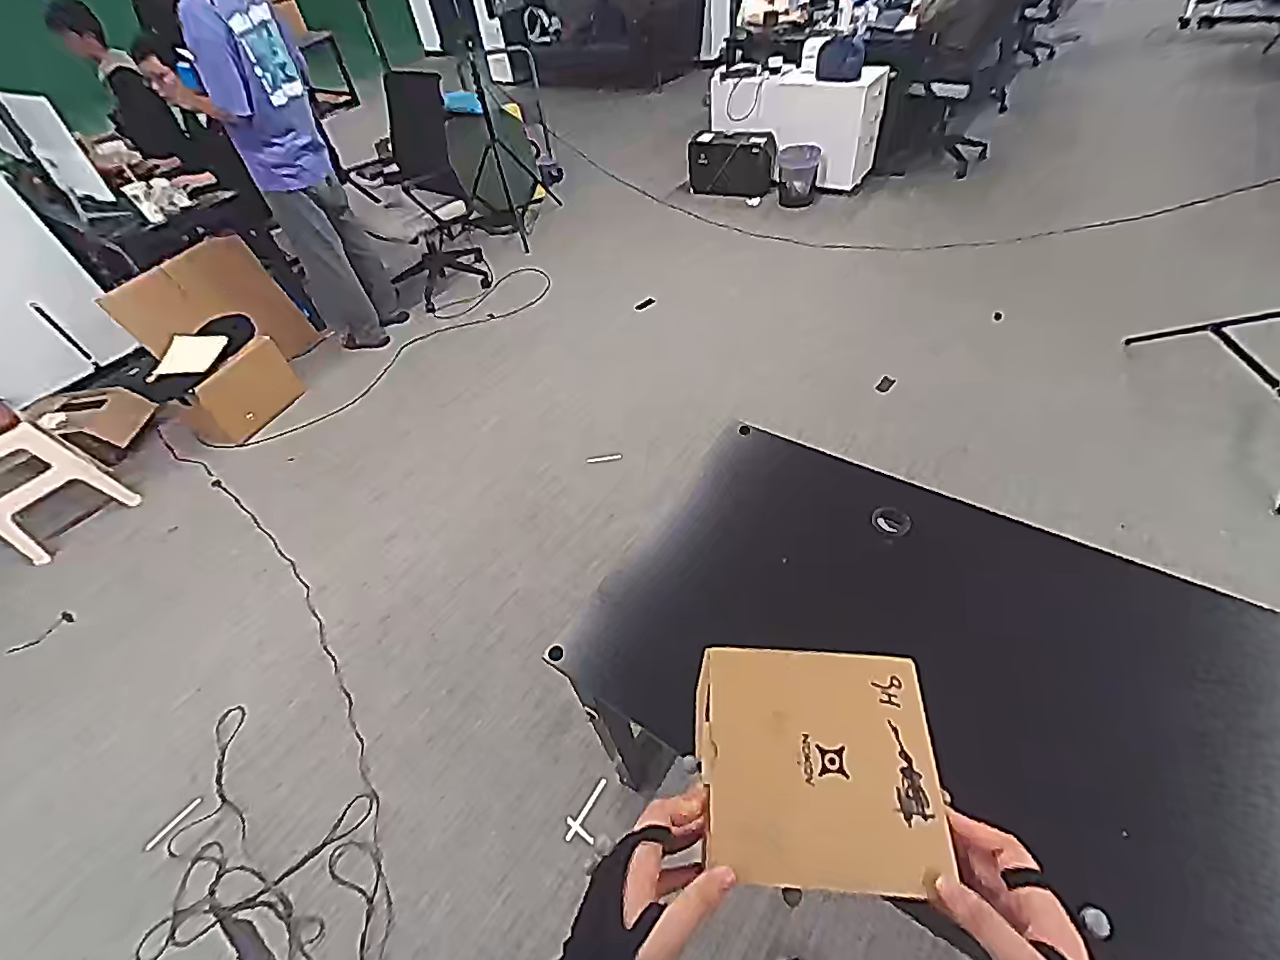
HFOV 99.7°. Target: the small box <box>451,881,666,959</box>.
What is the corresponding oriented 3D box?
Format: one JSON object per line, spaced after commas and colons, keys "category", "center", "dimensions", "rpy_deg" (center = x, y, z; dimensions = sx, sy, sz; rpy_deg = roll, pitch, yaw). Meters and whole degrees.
{"category": "small box", "center": [-0.071, 0.397, 0.333], "dimensions": [0.179, 0.168, 0.176], "rpy_deg": [4, 37, -37]}
